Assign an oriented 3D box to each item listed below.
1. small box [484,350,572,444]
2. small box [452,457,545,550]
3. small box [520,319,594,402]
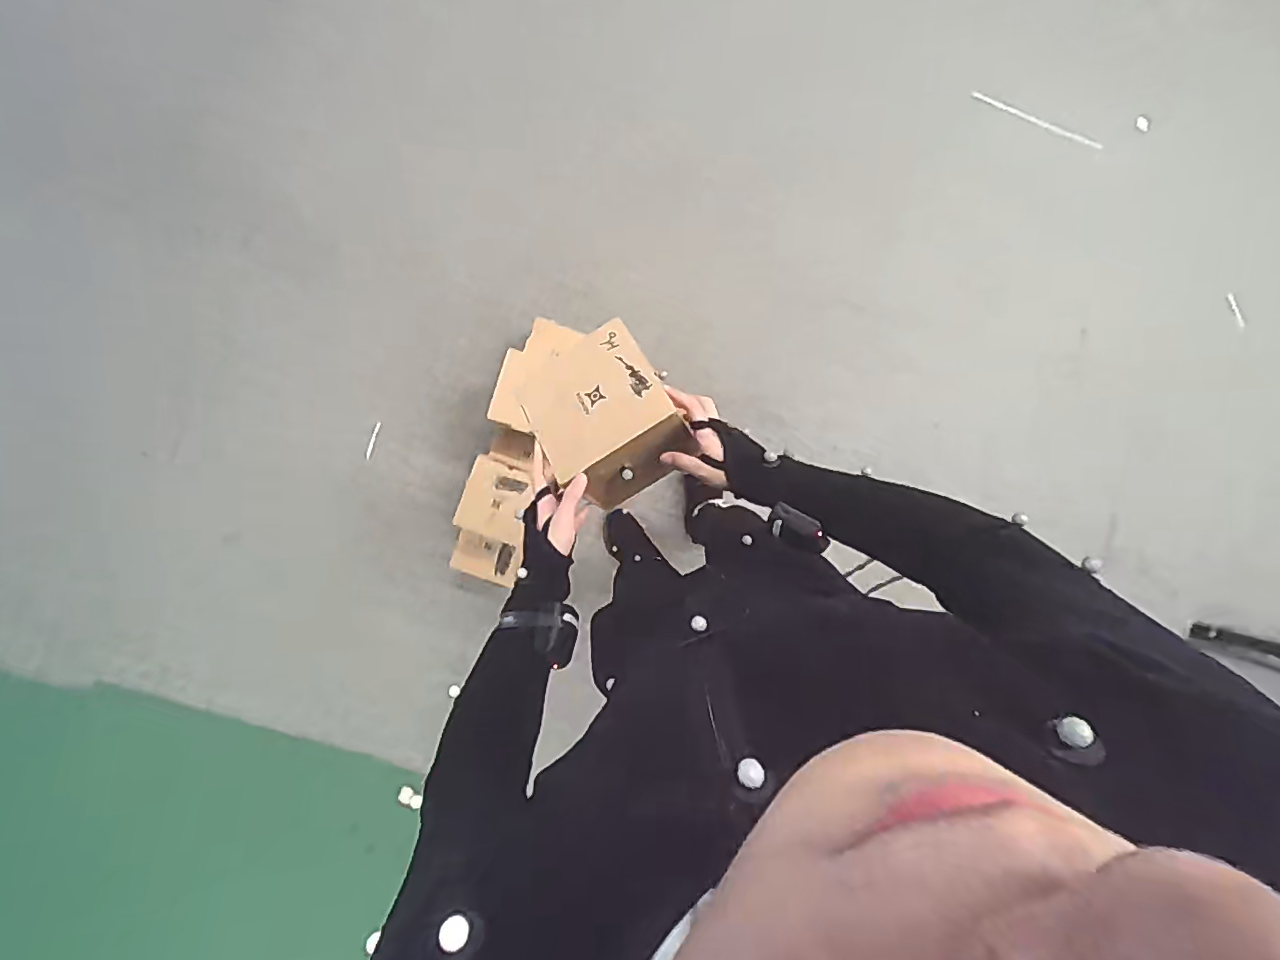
[{"bbox_3d":[-0.268,-0.197,1.341,0.168,0.176,0.179,17,87,-6],"label":"small box"},{"bbox_3d":[-0.339,0.053,1.334,0.168,0.176,0.179,20,89,-5],"label":"small box"},{"bbox_3d":[-0.235,-0.323,1.508,0.179,0.176,0.168,19,89,-5],"label":"small box"}]
